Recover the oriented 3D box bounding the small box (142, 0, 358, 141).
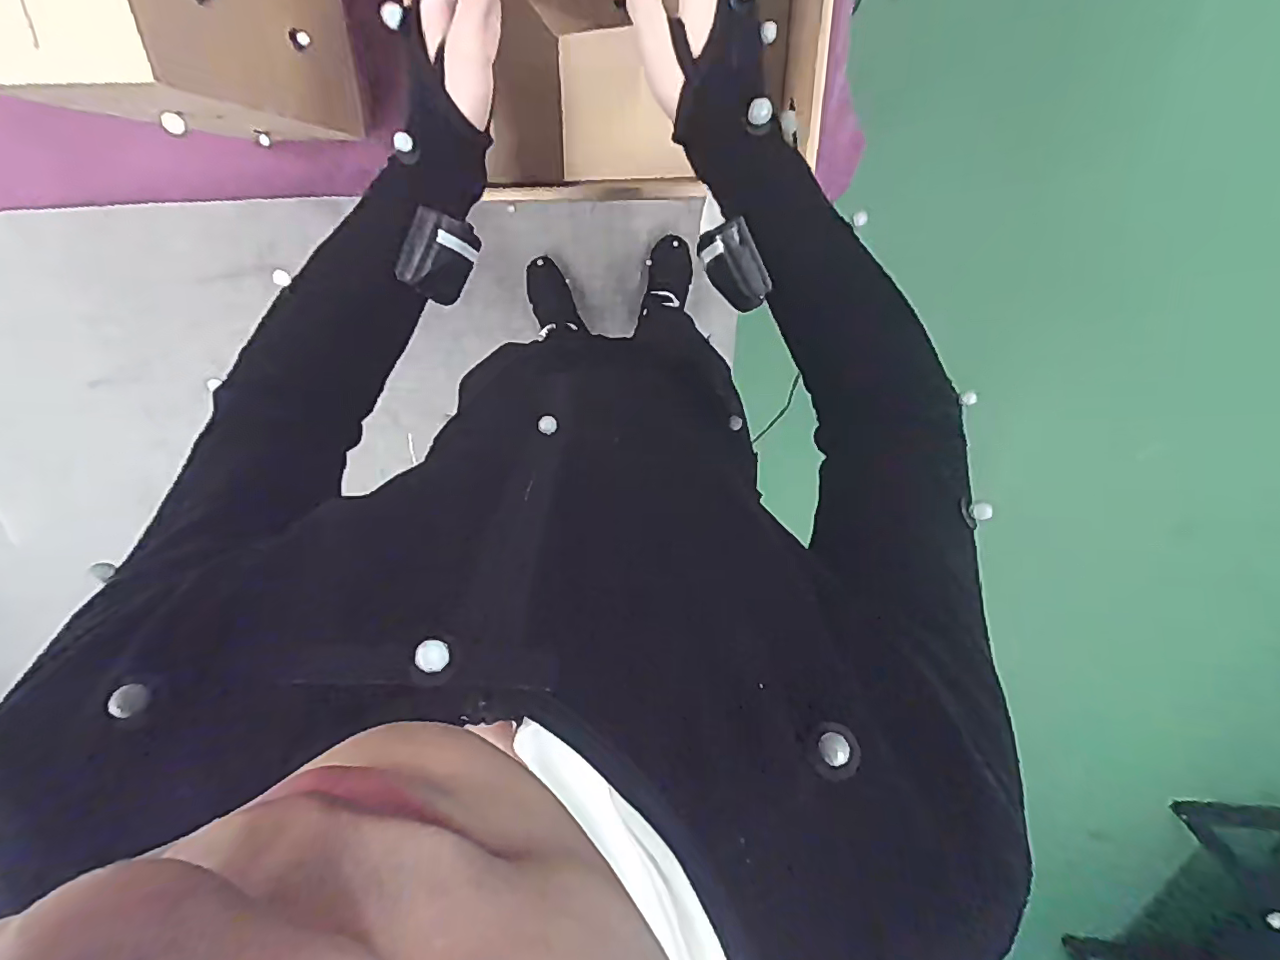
[{"bbox_3d":[-0.446,-0.489,0.605,0.168,0.176,0.179,1,116,1],"label":"small box"}]

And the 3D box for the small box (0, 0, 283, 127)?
[{"bbox_3d":[-0.450,-0.417,0.457,0.168,0.176,0.179,1,116,2],"label":"small box"}]
